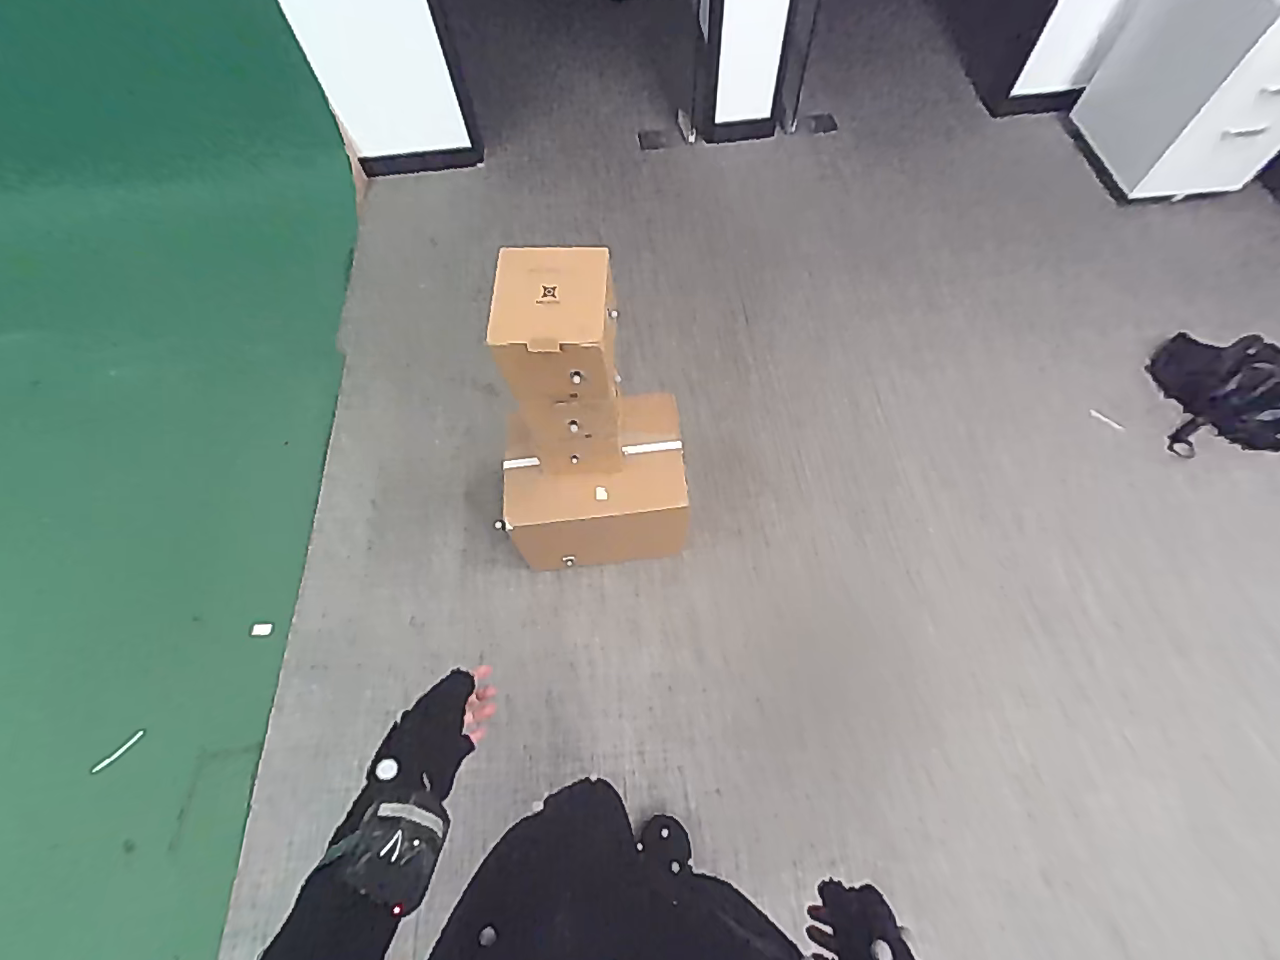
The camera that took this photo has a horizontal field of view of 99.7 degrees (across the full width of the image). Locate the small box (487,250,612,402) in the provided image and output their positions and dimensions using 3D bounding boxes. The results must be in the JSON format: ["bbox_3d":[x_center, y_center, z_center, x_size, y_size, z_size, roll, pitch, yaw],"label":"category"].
[{"bbox_3d":[-0.132,-0.237,0.861,0.168,0.176,0.179,1,68,0],"label":"small box"}]

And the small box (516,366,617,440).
[{"bbox_3d":[-0.135,-0.185,1.016,0.168,0.176,0.179,-6,69,-1],"label":"small box"}]

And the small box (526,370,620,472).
[{"bbox_3d":[-0.135,-0.124,1.165,0.179,0.176,0.168,1,67,2],"label":"small box"}]
